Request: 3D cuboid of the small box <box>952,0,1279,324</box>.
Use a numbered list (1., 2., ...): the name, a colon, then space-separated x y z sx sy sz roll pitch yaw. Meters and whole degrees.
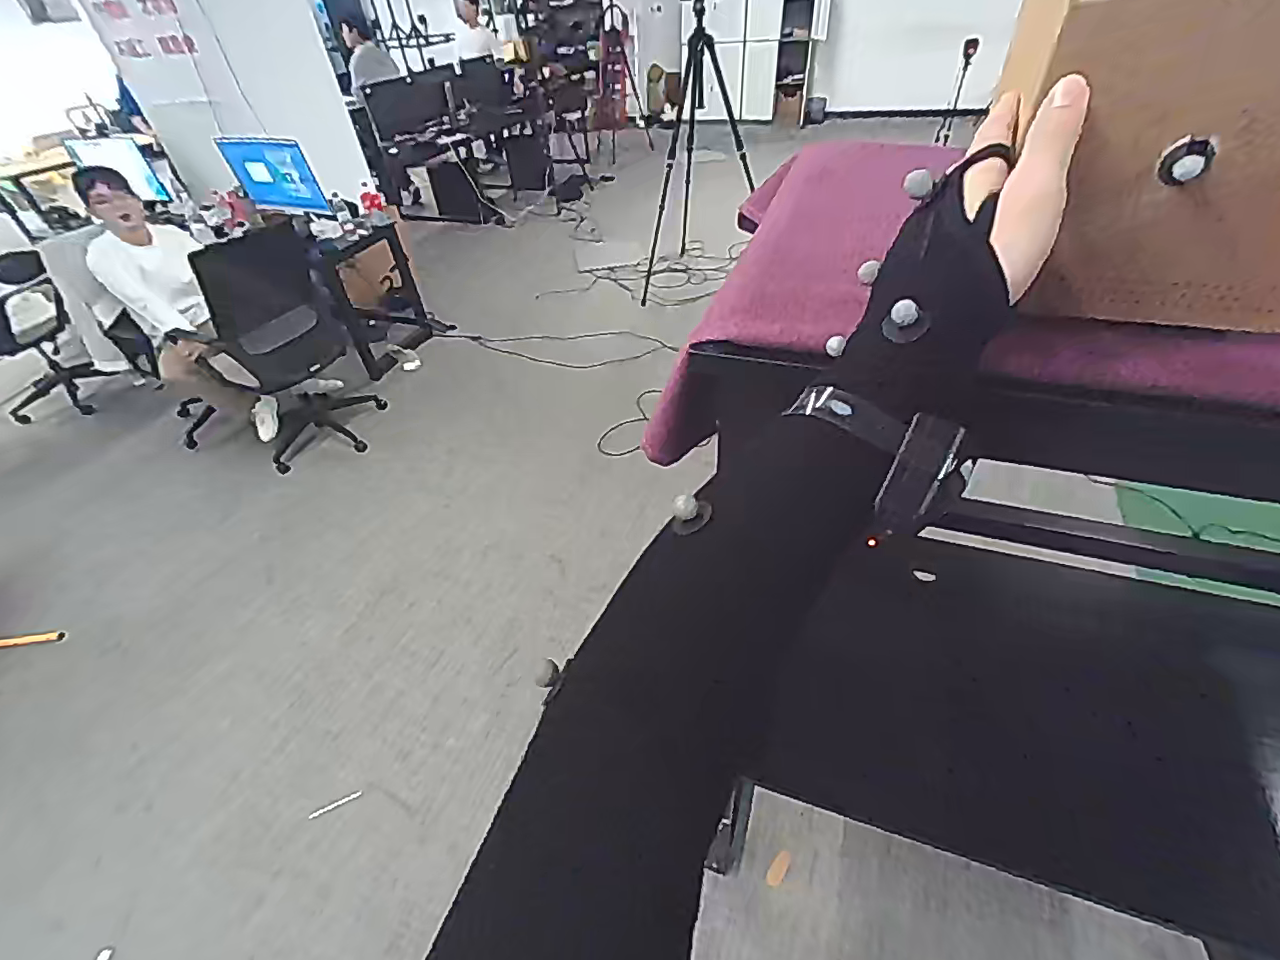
1. small box: 0.315 -0.214 0.329 0.179 0.176 0.168 11 52 20
